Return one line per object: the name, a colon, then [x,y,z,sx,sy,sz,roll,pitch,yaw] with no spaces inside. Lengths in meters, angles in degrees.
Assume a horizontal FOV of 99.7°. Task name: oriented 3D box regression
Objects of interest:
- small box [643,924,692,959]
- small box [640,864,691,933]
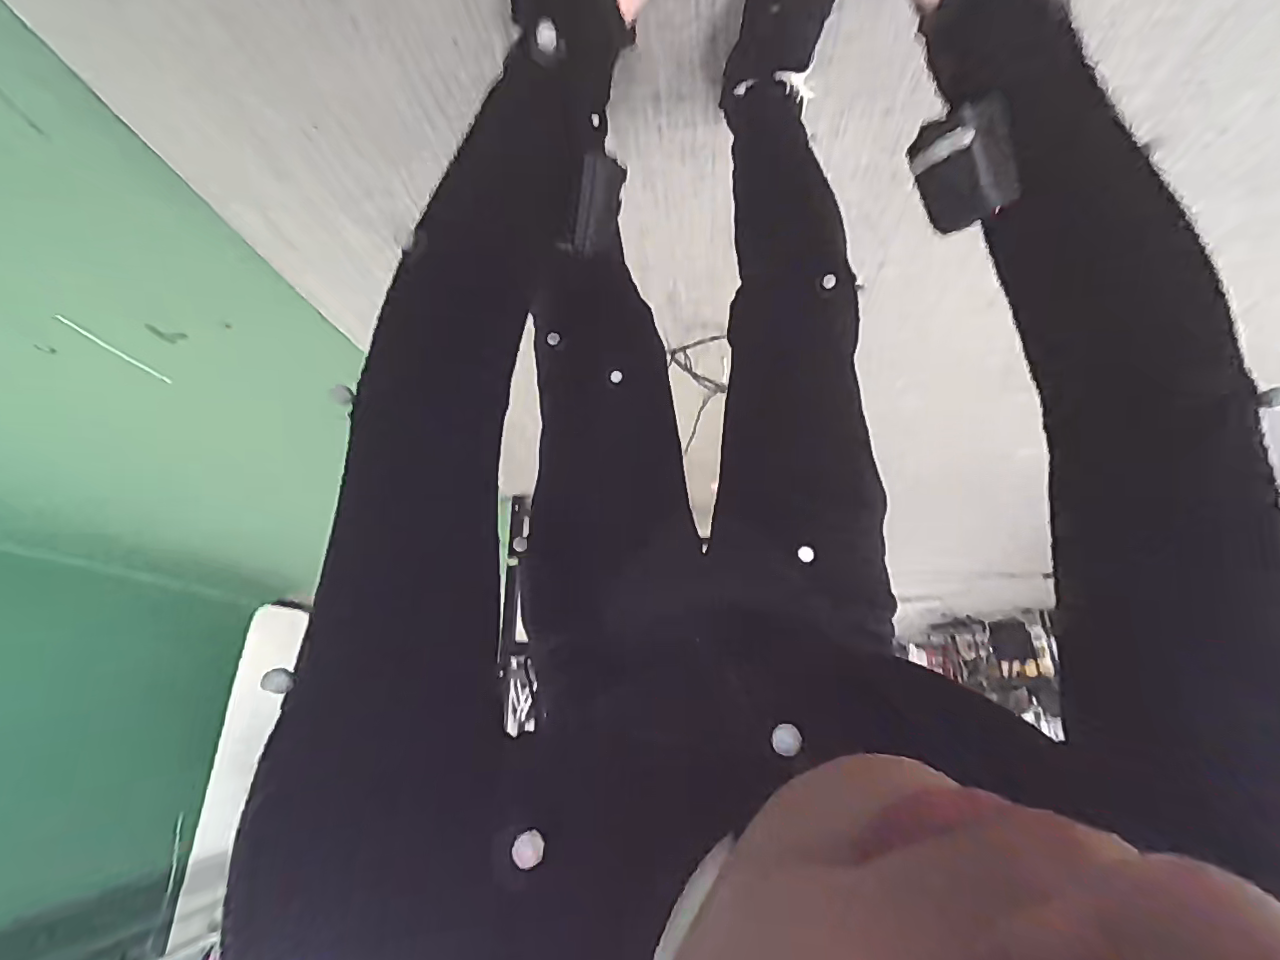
small box: [0.099,1.703,1.956,0.168,0.176,0.179,-2,158,8]
small box: [0.097,1.549,2.011,0.179,0.176,0.168,-3,158,7]
